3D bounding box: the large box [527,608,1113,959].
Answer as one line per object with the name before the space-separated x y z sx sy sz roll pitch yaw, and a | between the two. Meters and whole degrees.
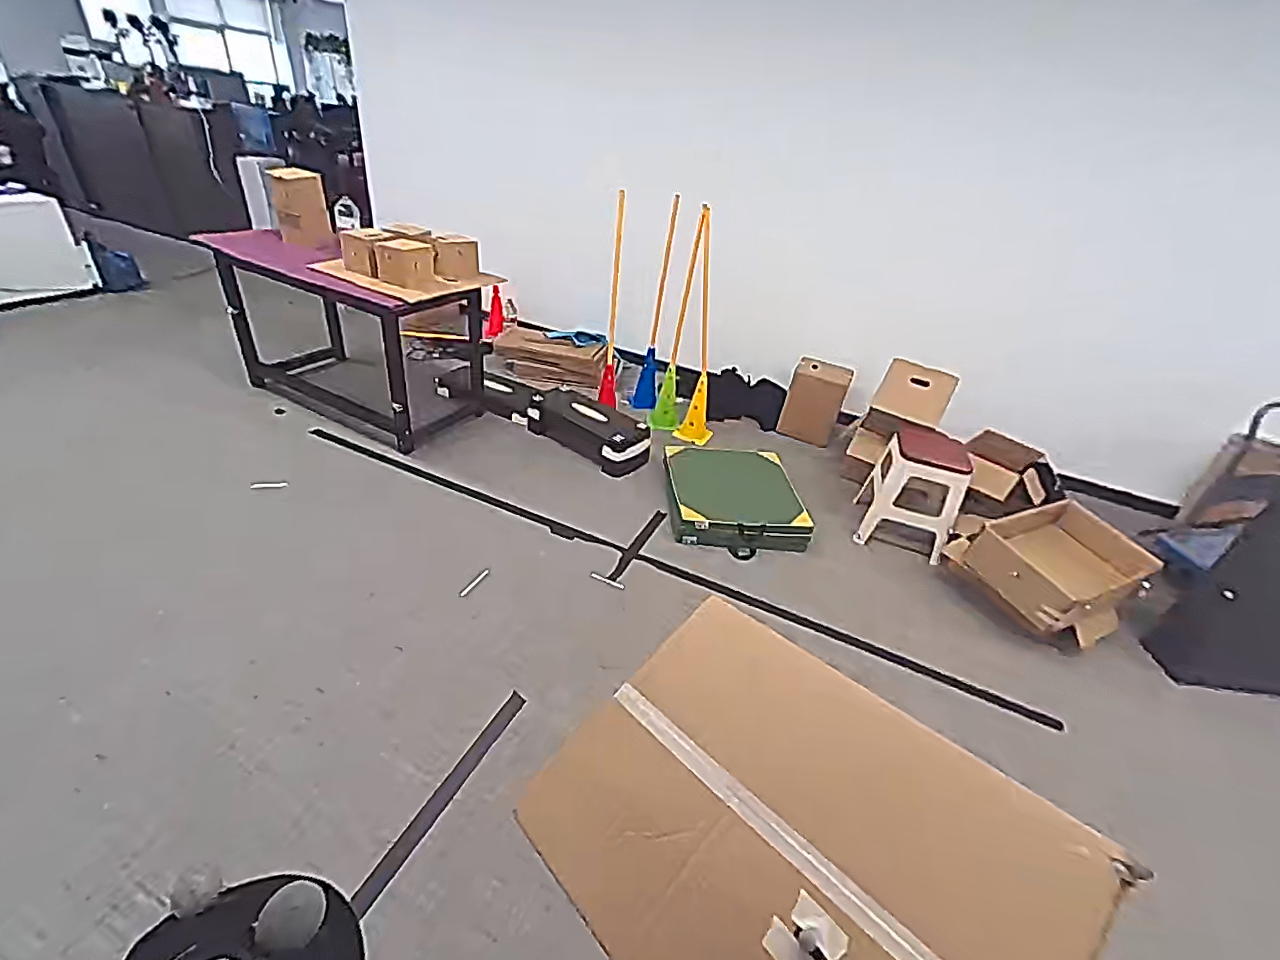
large box | 0.158 0.416 0.567 0.320 0.320 0.408 -41 42 -23
